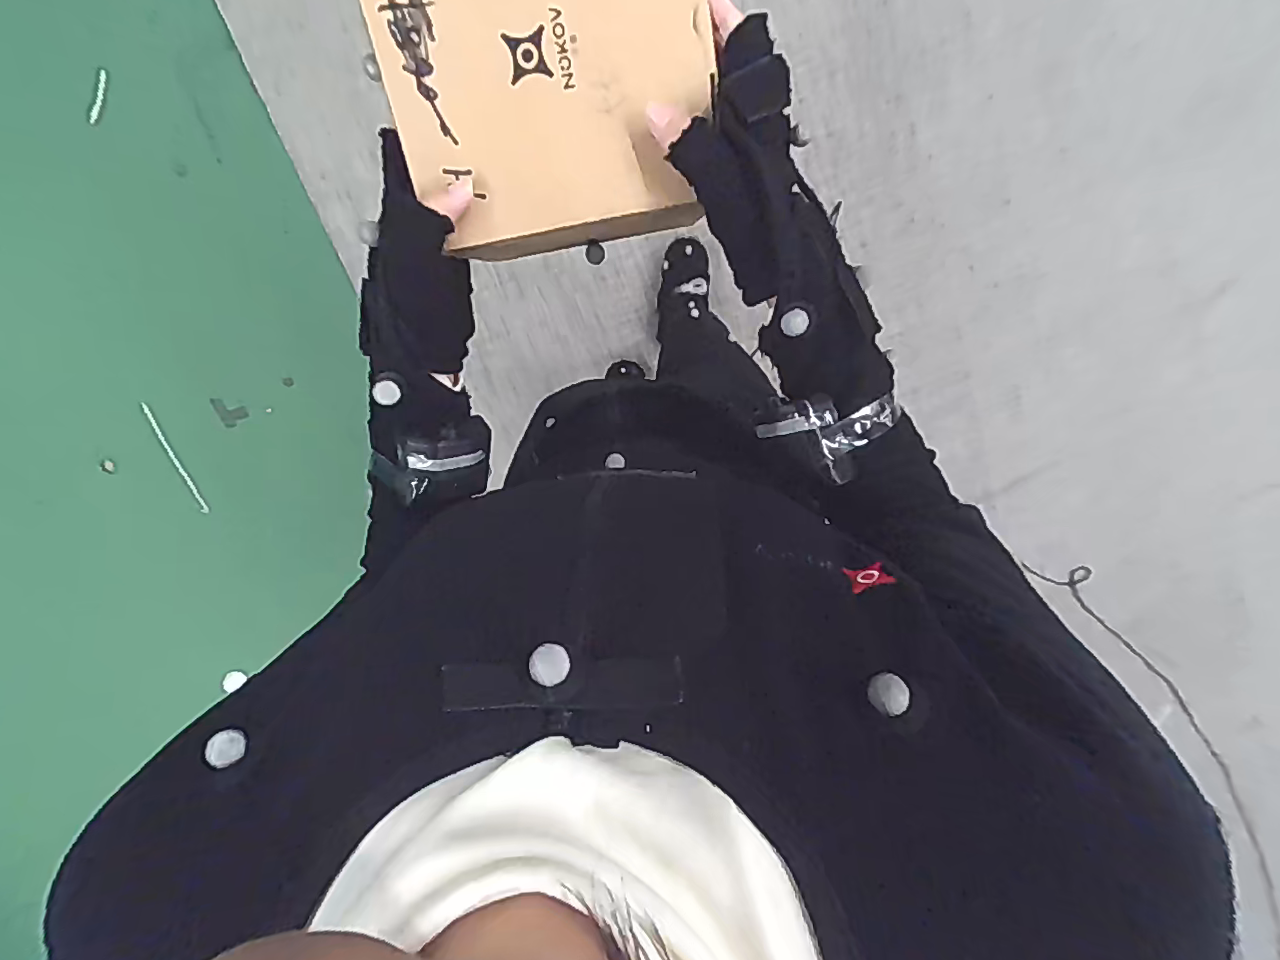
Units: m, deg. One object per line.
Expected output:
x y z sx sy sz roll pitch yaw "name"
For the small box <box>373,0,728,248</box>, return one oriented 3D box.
-0.050 -0.258 0.358 0.179 0.176 0.168 -9 109 1 "small box"
